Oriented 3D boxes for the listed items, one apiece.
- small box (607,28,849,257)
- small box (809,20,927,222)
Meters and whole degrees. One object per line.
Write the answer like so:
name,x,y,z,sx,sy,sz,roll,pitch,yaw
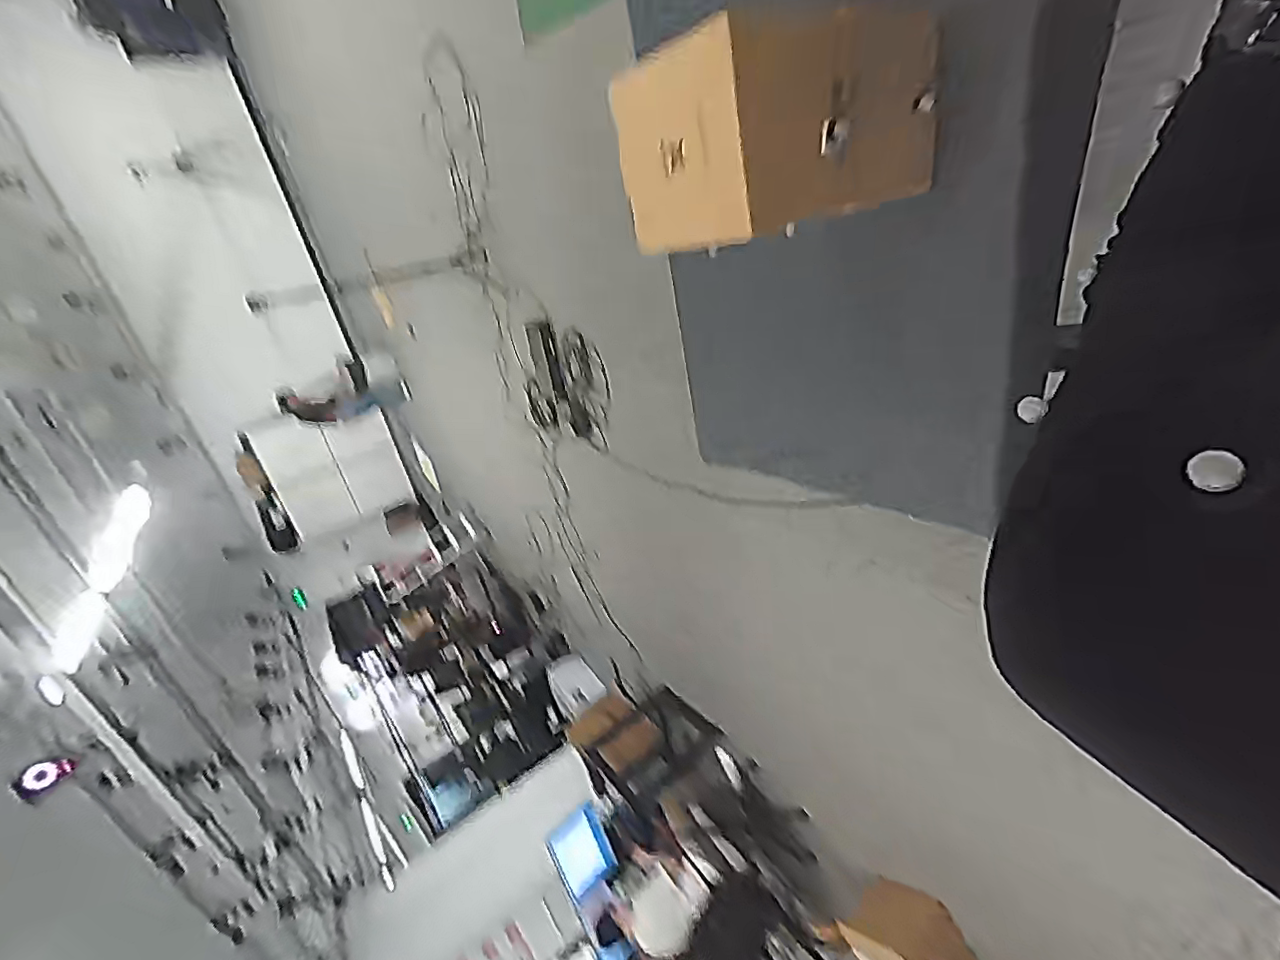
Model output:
small box,0.095,-0.347,0.577,0.179,0.176,0.168,20,132,51
small box,0.223,-0.413,0.653,0.168,0.176,0.179,22,131,52
